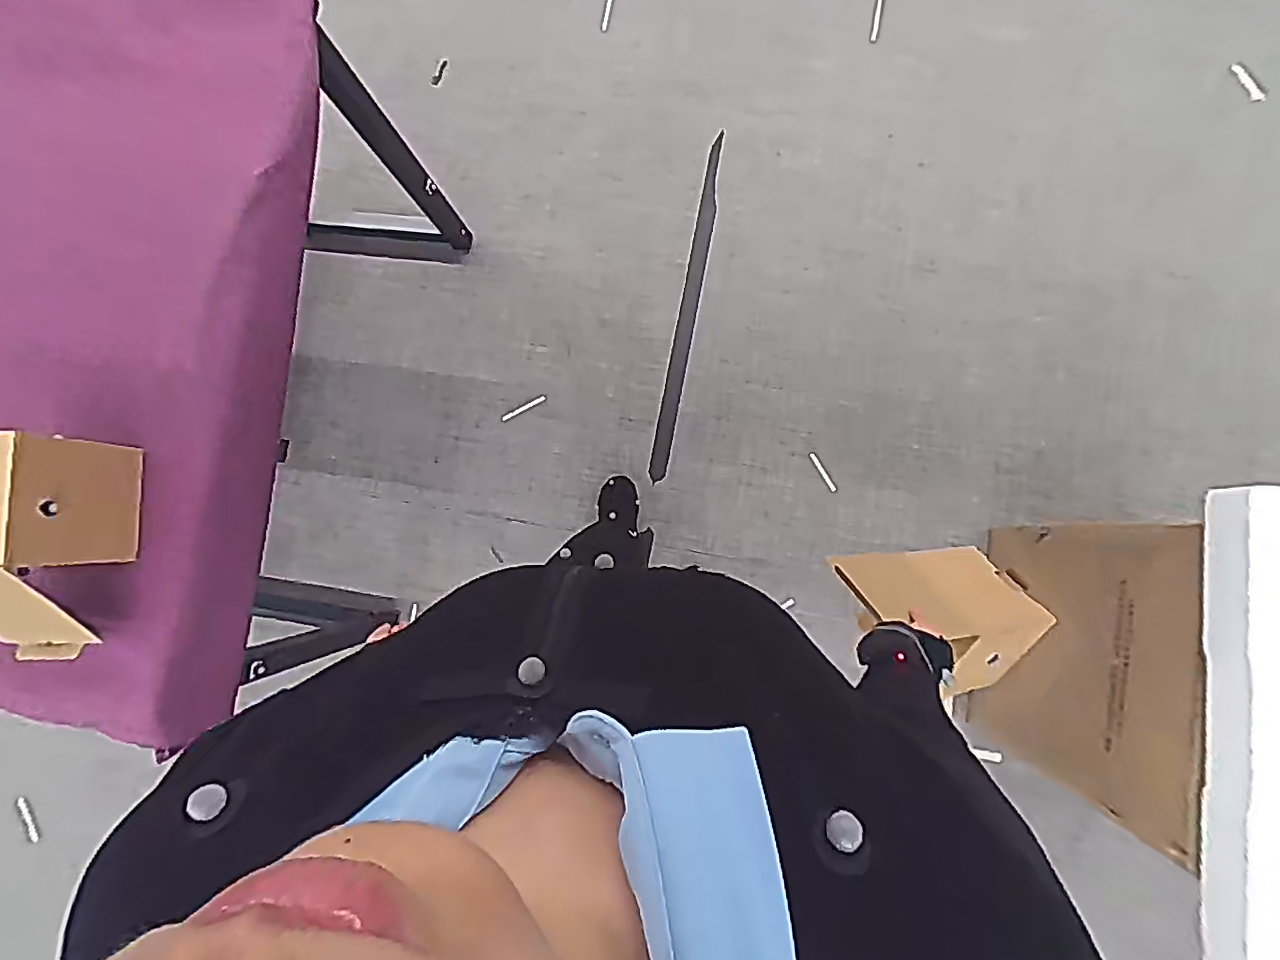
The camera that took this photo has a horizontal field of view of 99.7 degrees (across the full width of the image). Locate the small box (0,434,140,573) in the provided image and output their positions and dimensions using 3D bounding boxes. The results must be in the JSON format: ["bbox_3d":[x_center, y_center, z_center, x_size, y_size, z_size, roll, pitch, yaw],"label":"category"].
[{"bbox_3d":[-0.860,0.036,0.759,0.168,0.176,0.179,-1,84,4],"label":"small box"}]
